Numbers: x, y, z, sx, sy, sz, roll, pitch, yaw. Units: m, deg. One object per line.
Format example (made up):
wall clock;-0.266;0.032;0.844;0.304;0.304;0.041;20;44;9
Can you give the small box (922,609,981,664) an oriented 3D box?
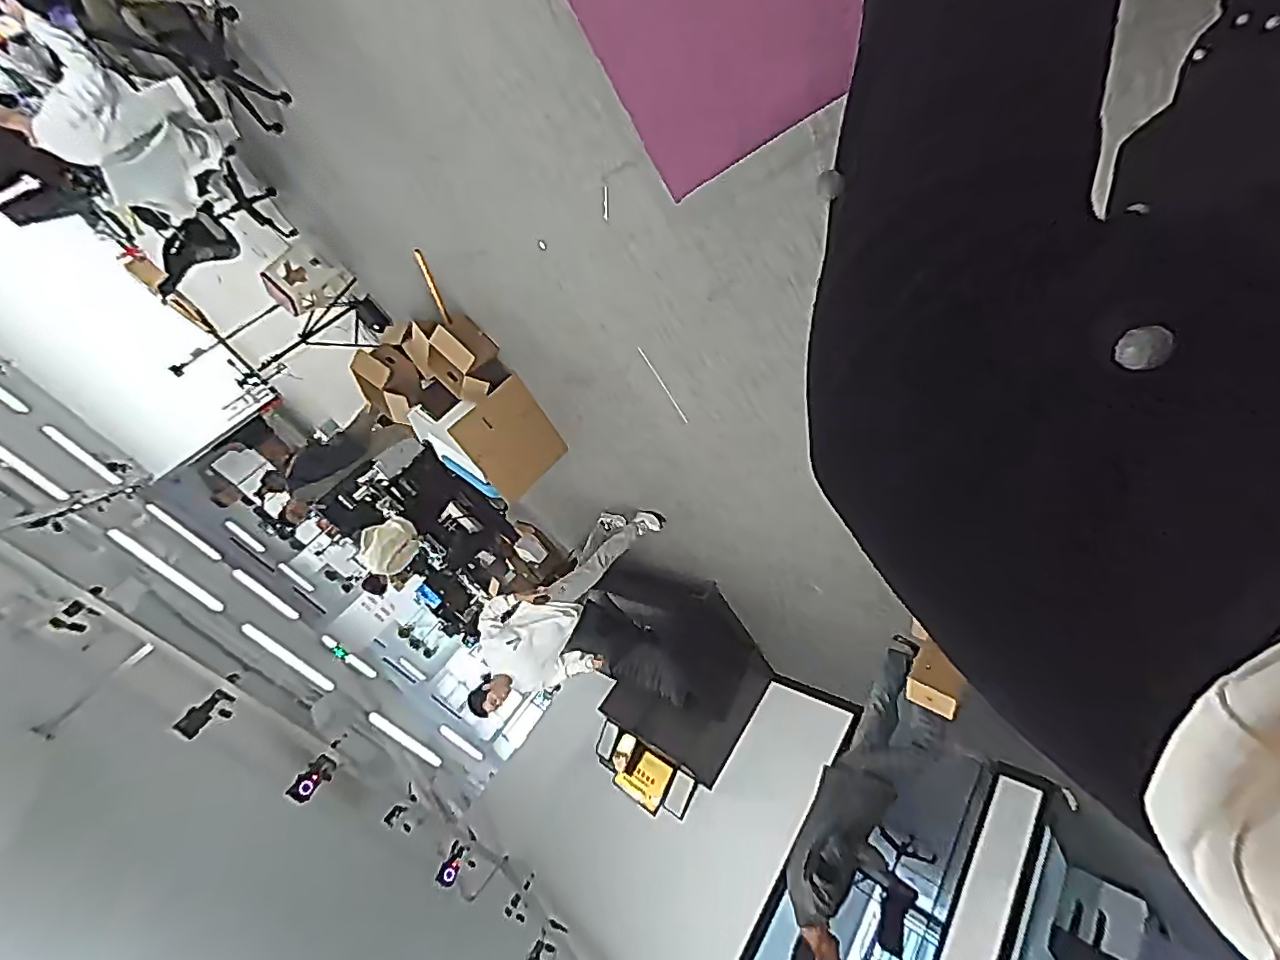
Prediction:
small box;1.216;0.641;2.122;0.168;0.176;0.179;21;146;35

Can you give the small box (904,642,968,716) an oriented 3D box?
small box;1.120;0.748;2.045;0.168;0.176;0.179;20;147;37

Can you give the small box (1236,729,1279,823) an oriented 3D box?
small box;1.634;0.736;1.320;0.168;0.176;0.179;41;154;-1
